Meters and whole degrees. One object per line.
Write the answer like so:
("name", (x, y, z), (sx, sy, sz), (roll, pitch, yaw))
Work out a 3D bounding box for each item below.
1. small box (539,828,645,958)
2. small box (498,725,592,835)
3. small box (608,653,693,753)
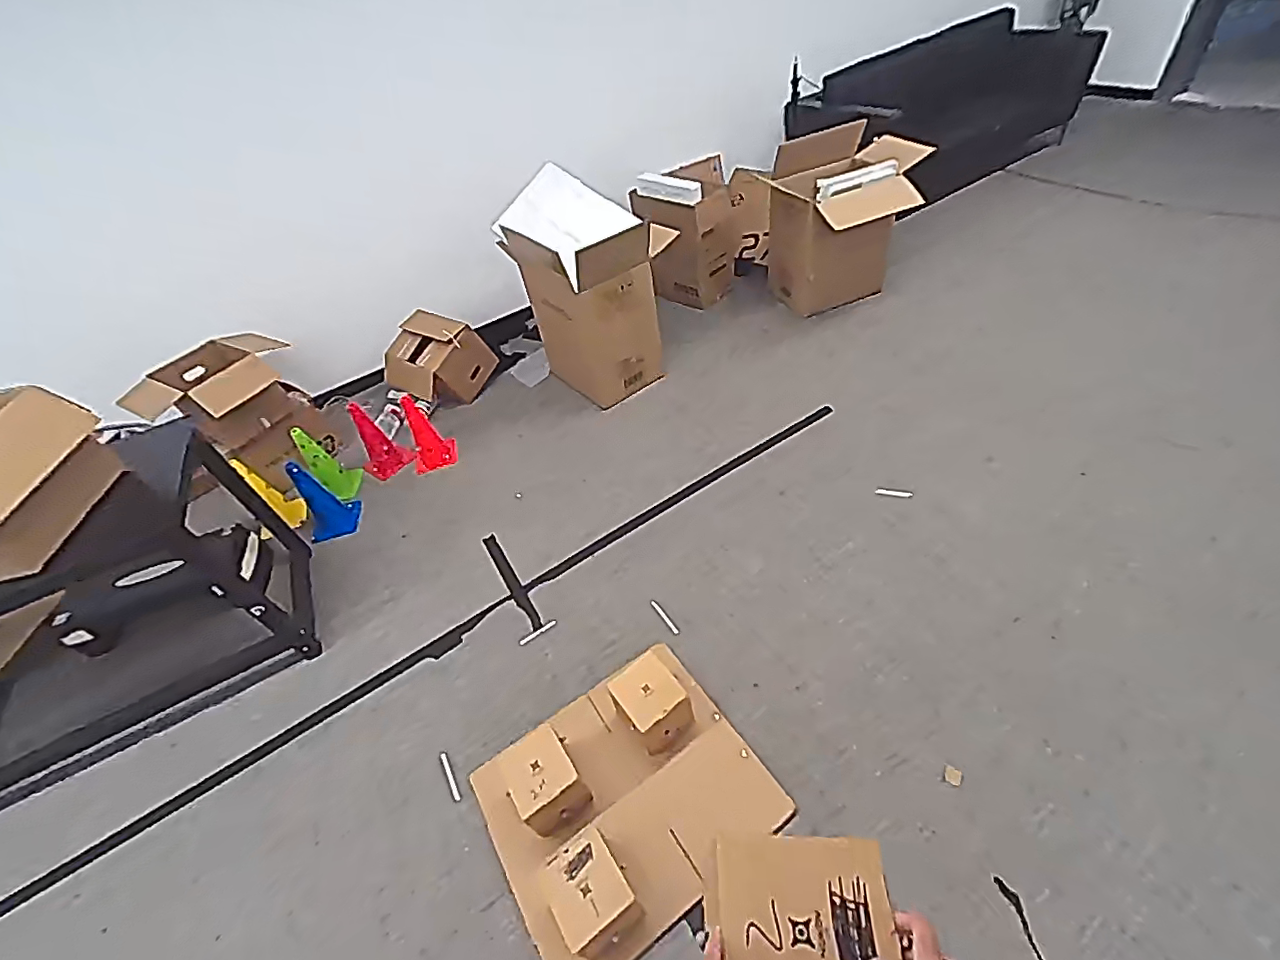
("small box", (-0.109, 0.966, 1.261), (0.168, 0.176, 0.179), (-32, 49, -18))
("small box", (-0.251, 0.806, 1.450), (0.168, 0.176, 0.179), (-31, 48, -18))
("small box", (0.034, 0.646, 1.558), (0.168, 0.176, 0.179), (-33, 48, -20))
